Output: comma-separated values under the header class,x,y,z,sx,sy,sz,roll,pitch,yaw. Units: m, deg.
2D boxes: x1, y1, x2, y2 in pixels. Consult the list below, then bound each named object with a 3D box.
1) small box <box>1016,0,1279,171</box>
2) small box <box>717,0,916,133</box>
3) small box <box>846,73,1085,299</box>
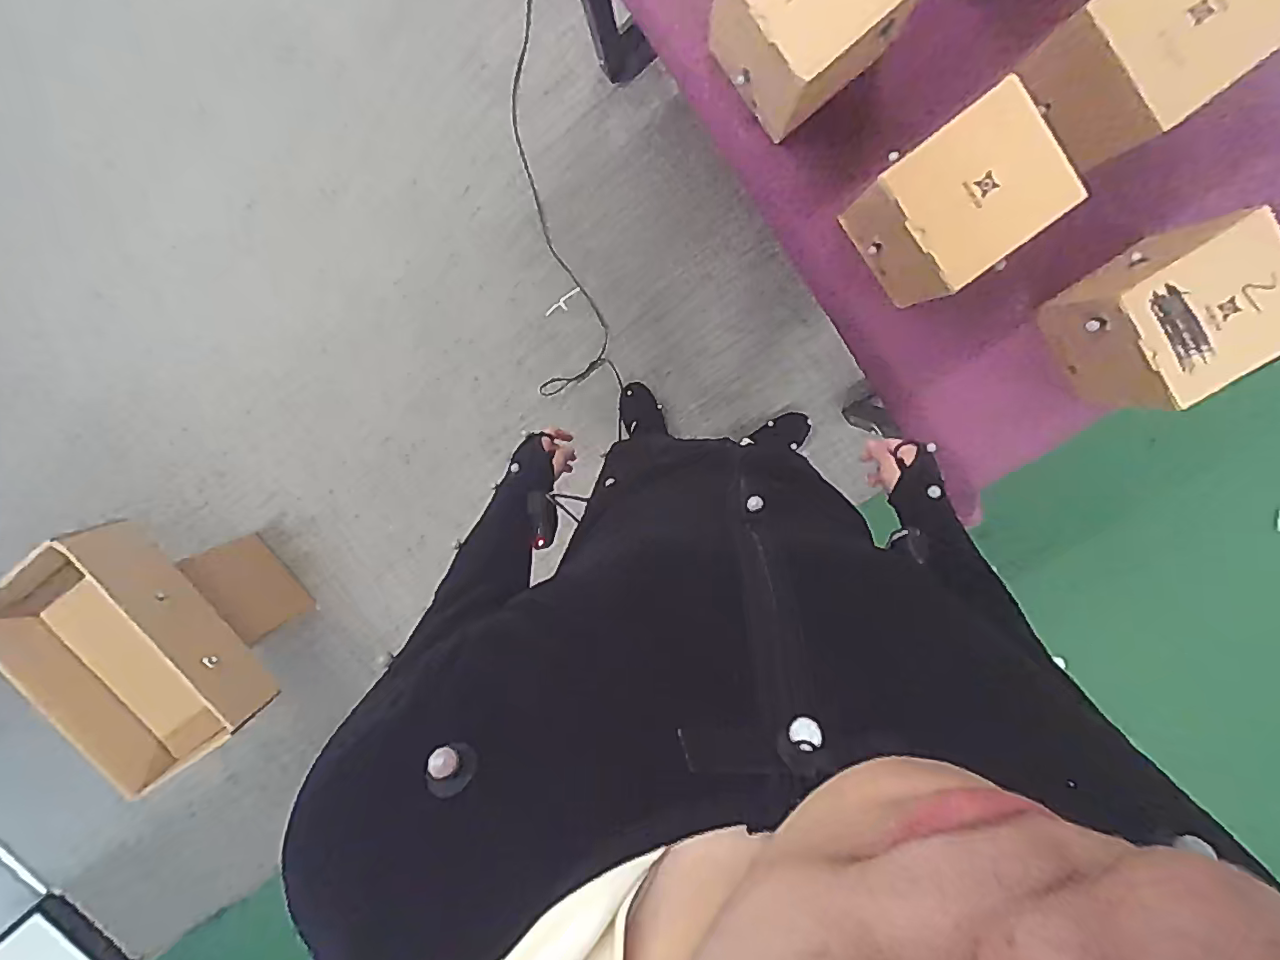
class,x,y,z,sx,sy,sz,roll,pitch,yaw
small box,0.608,-0.520,0.653,0.179,0.176,0.168,-37,96,12
small box,0.212,-0.583,0.667,0.179,0.176,0.168,-37,97,10
small box,0.404,-0.360,0.704,0.179,0.176,0.168,-36,98,11
